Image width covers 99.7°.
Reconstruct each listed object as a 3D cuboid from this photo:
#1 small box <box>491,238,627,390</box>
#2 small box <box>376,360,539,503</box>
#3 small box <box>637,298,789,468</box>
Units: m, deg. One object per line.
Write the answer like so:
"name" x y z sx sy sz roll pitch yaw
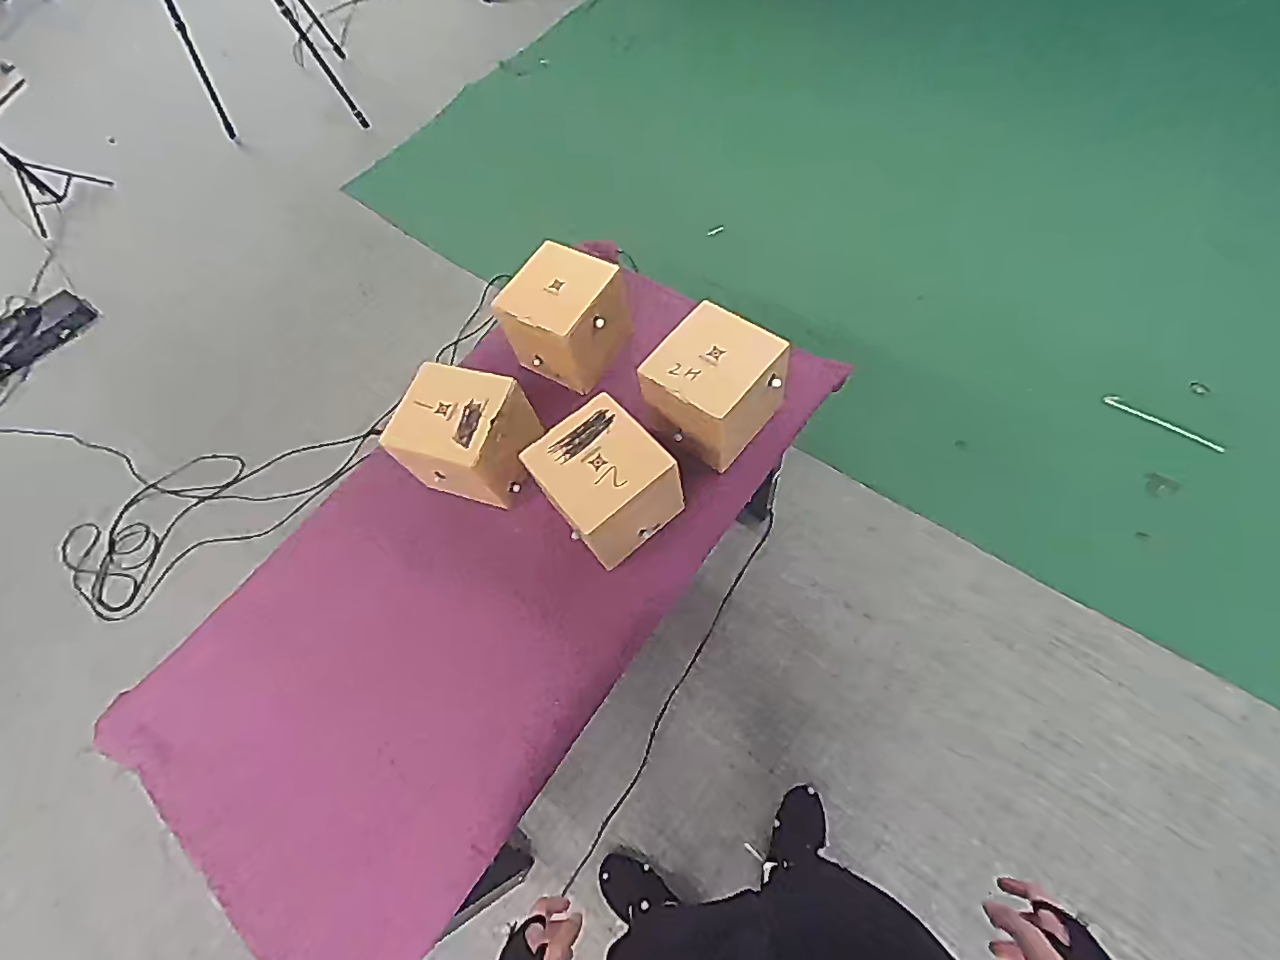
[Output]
"small box" -0.137 -0.303 1.004 0.168 0.176 0.179 27 73 19
"small box" -0.295 -0.075 0.920 0.179 0.176 0.168 14 68 15
"small box" 0.120 -0.155 0.889 0.168 0.176 0.179 36 76 24
